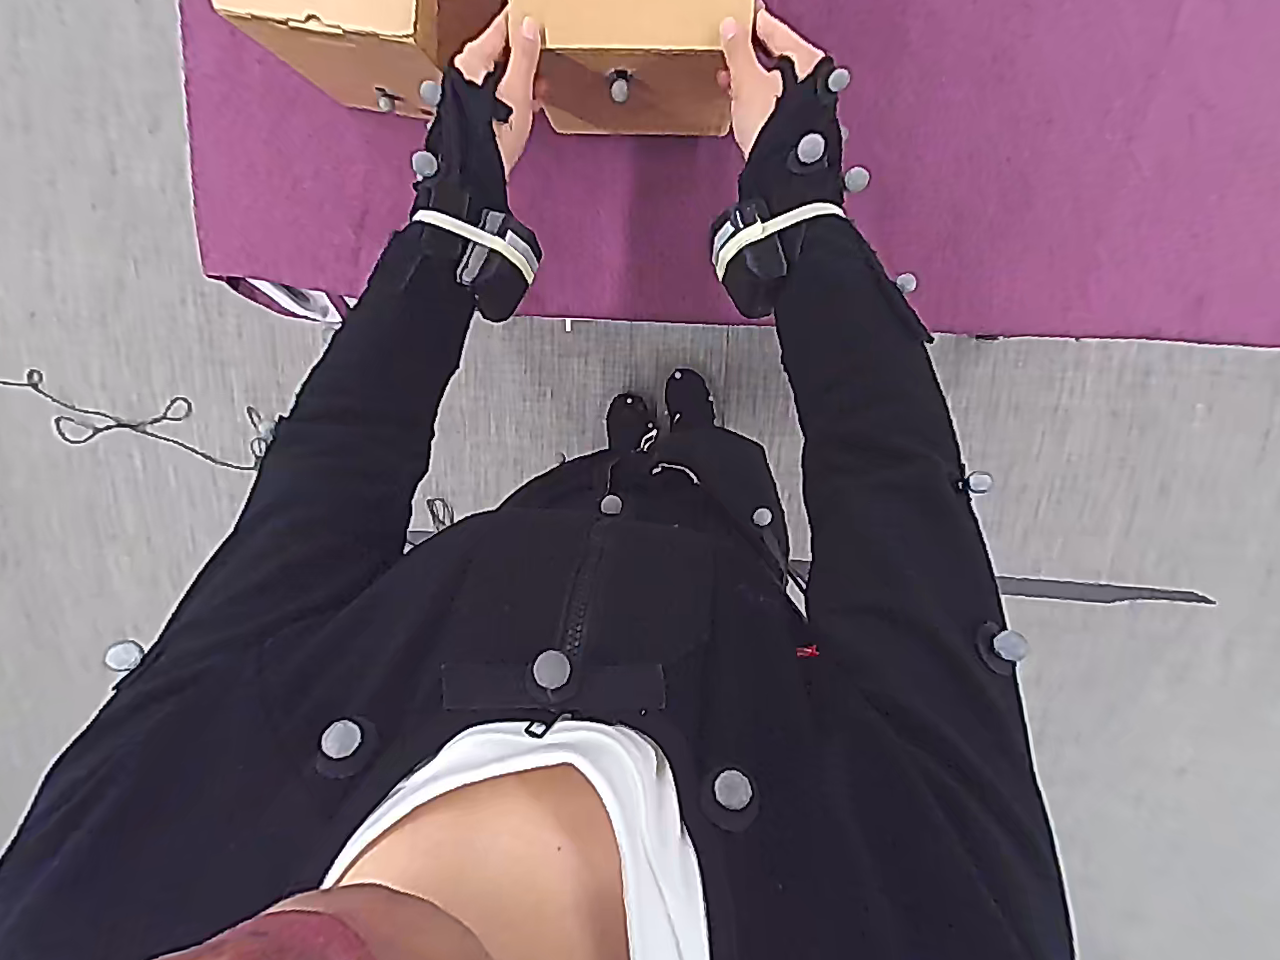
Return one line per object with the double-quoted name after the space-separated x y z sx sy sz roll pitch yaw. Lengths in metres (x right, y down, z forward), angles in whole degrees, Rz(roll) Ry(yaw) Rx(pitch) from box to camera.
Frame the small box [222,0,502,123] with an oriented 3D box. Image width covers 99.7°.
-0.229 -0.456 0.477 0.168 0.176 0.179 10 103 2 "small box"
